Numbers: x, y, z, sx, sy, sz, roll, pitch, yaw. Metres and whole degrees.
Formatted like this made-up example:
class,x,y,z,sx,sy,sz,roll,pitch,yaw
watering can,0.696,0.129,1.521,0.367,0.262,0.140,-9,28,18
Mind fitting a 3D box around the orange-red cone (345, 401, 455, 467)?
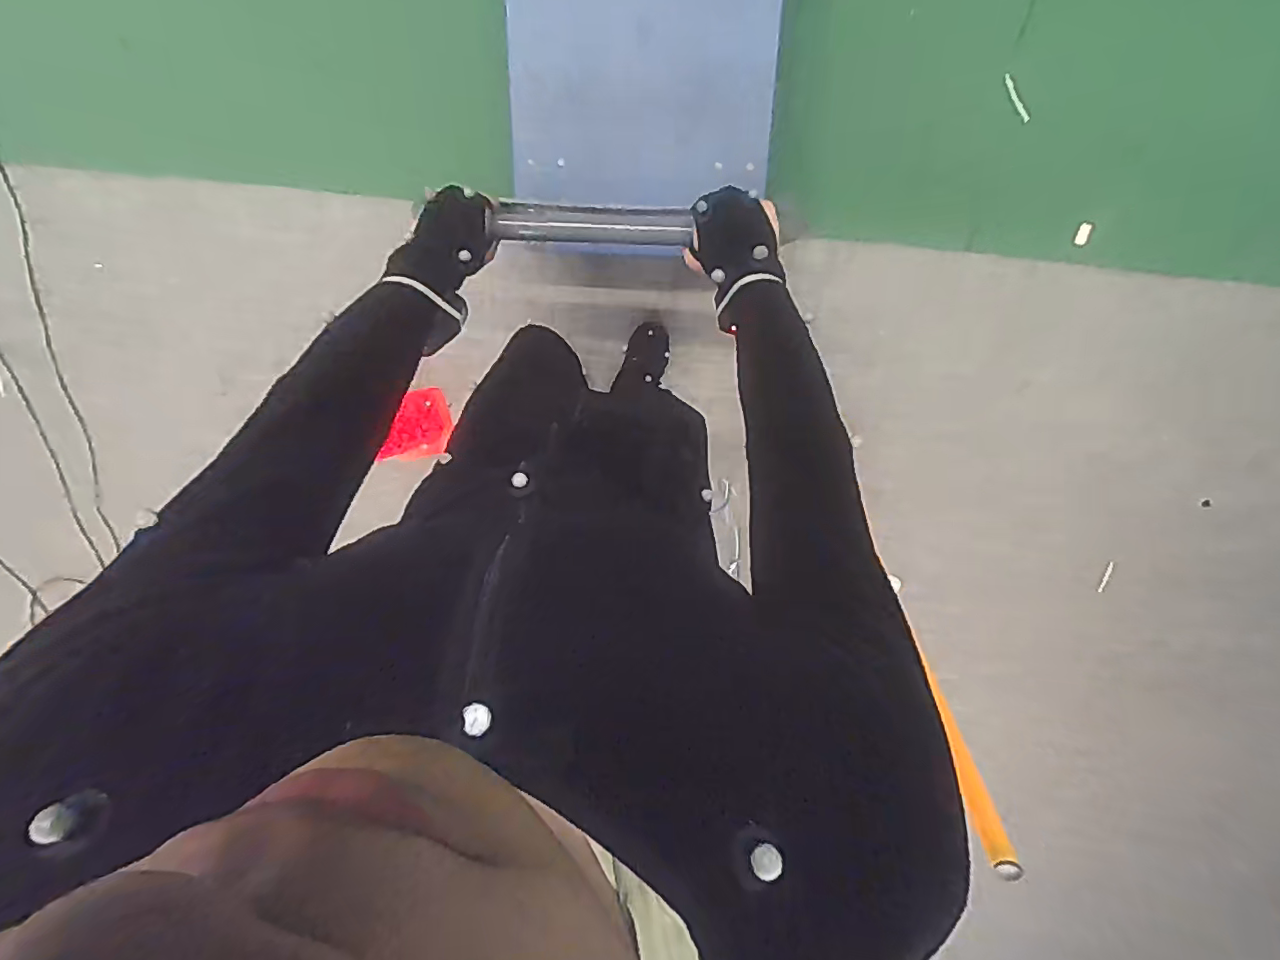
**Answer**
class,x,y,z,sx,sy,sz,roll,pitch,yaw
orange-red cone,-0.673,-0.103,1.448,0.199,0.360,0.198,-7,108,7
